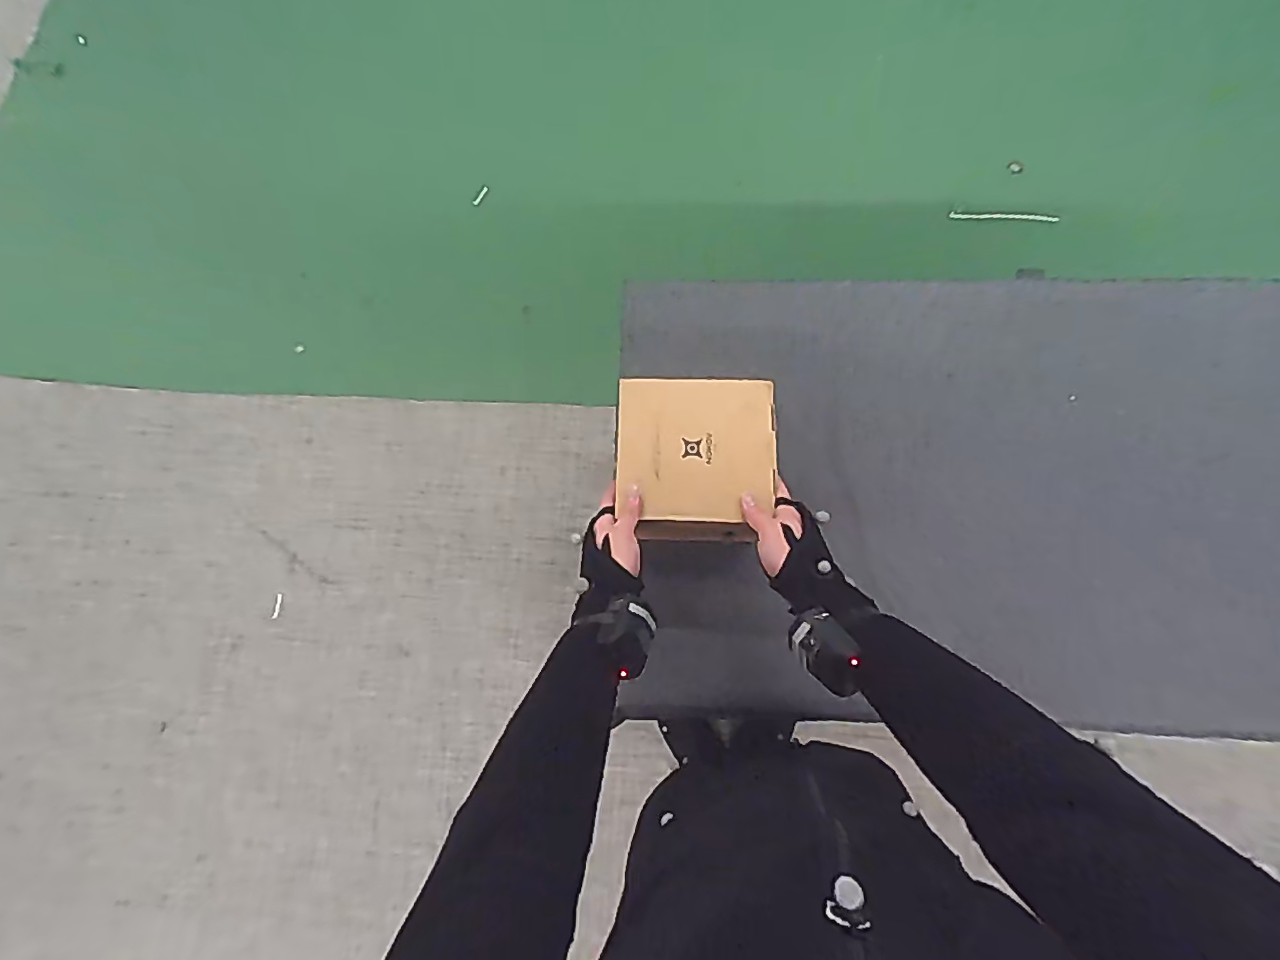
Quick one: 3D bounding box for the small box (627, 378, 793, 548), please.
[{"bbox_3d":[0.076,-0.012,0.659,0.179,0.176,0.168,1,74,2],"label":"small box"}]
